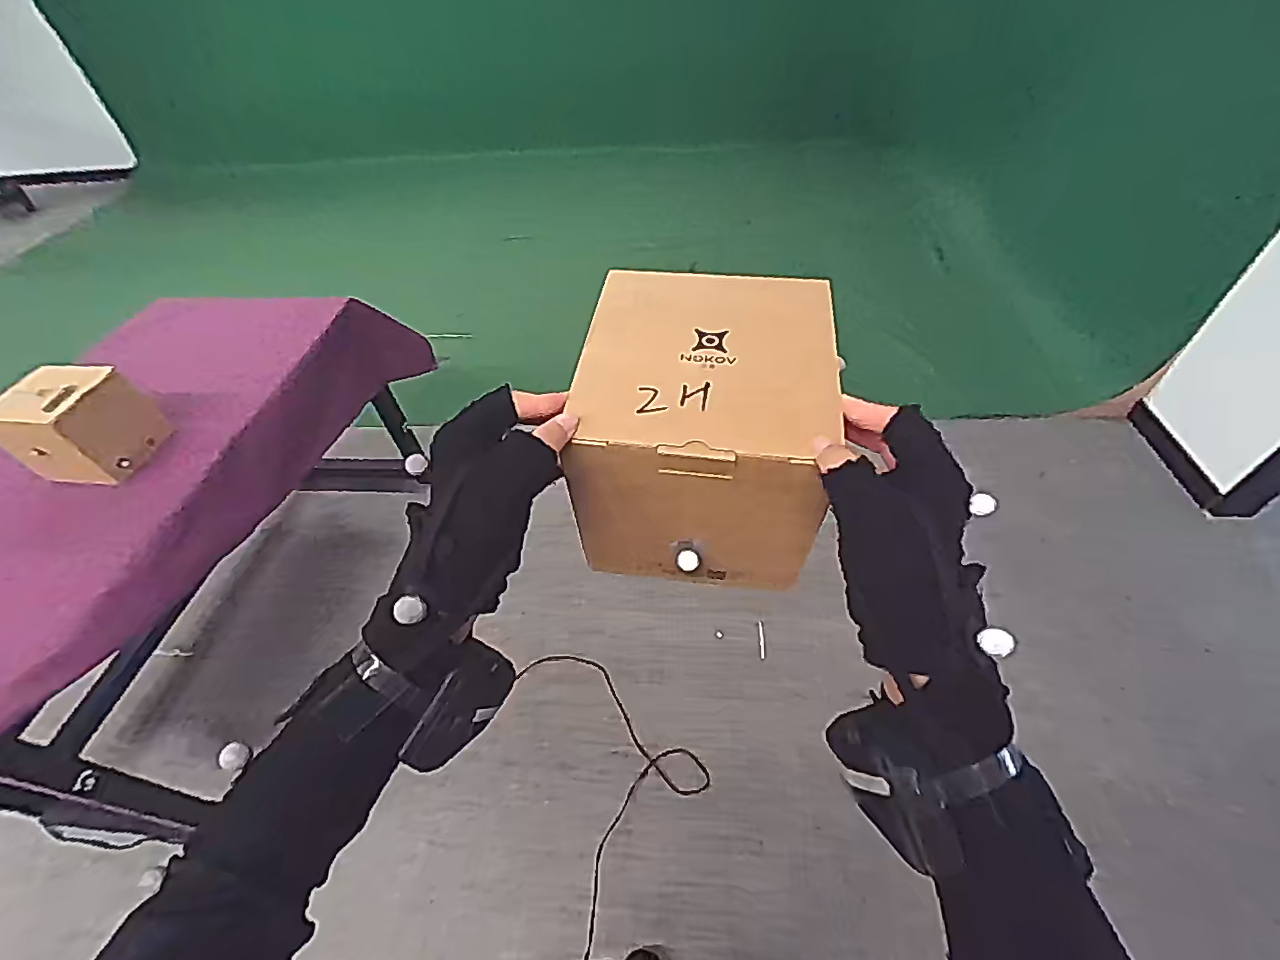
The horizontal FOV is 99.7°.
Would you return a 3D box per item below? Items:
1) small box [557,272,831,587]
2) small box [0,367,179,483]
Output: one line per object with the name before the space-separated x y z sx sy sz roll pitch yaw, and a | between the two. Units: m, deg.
small box | 0.045 -0.039 0.429 0.168 0.176 0.179 5 53 8
small box | -1.100 -0.108 1.085 0.179 0.176 0.168 2 49 8
